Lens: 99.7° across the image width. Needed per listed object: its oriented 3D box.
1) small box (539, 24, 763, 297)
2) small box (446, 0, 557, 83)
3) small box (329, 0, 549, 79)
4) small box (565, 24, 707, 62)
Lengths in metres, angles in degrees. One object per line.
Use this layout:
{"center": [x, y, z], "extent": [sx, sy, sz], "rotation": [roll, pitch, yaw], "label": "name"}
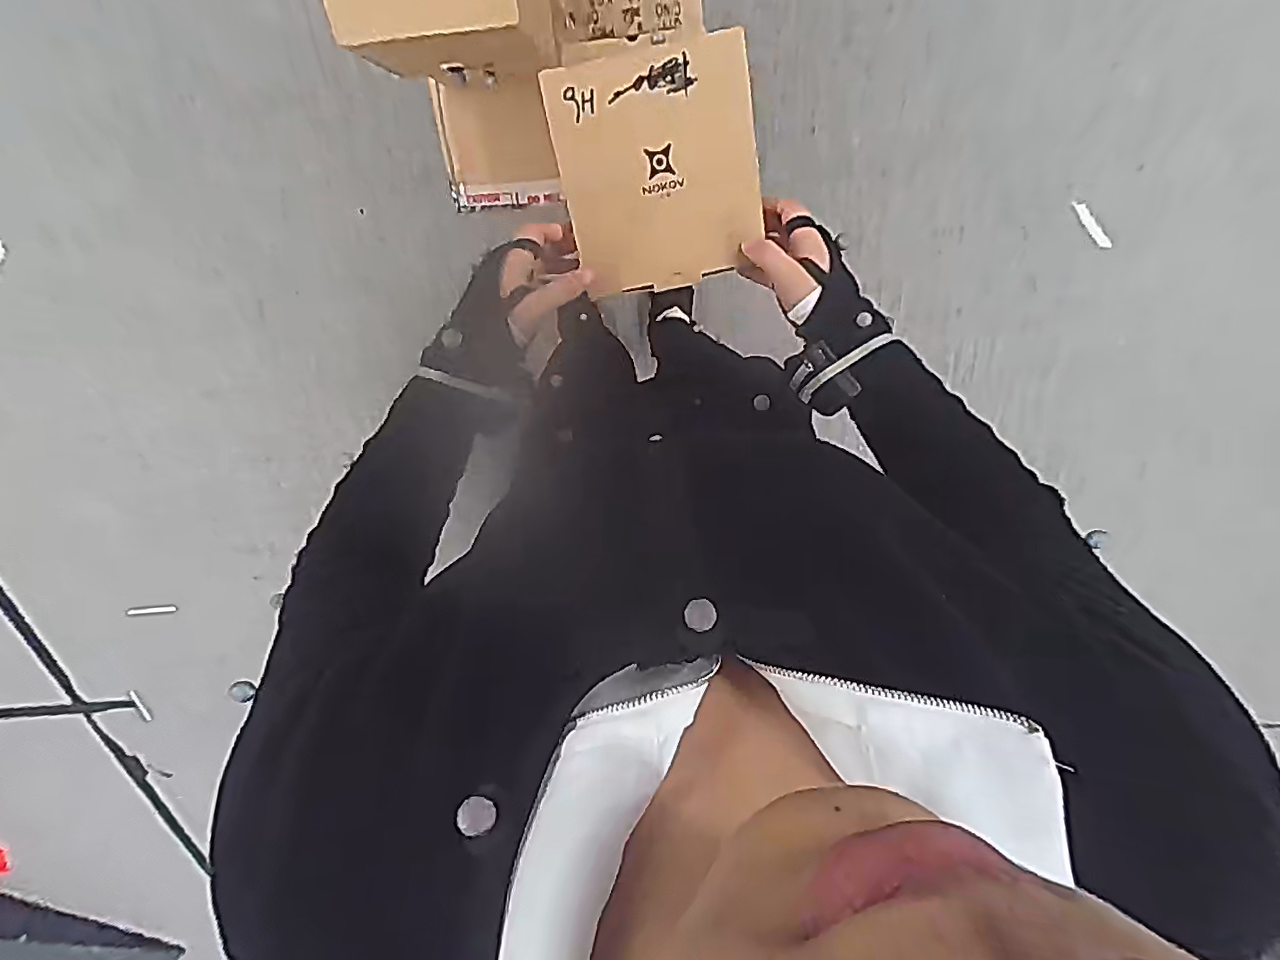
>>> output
{"center": [0.013, -0.292, 0.524], "extent": [0.168, 0.176, 0.179], "rotation": [-12, 114, 2], "label": "small box"}
{"center": [-0.198, -0.594, 0.634], "extent": [0.168, 0.176, 0.179], "rotation": [-5, 118, 2], "label": "small box"}
{"center": [-0.188, -0.500, 0.500], "extent": [0.168, 0.176, 0.179], "rotation": [-5, 119, 3], "label": "small box"}
{"center": [0.000, -0.458, 0.710], "extent": [0.168, 0.176, 0.179], "rotation": [-7, 118, 1], "label": "small box"}
